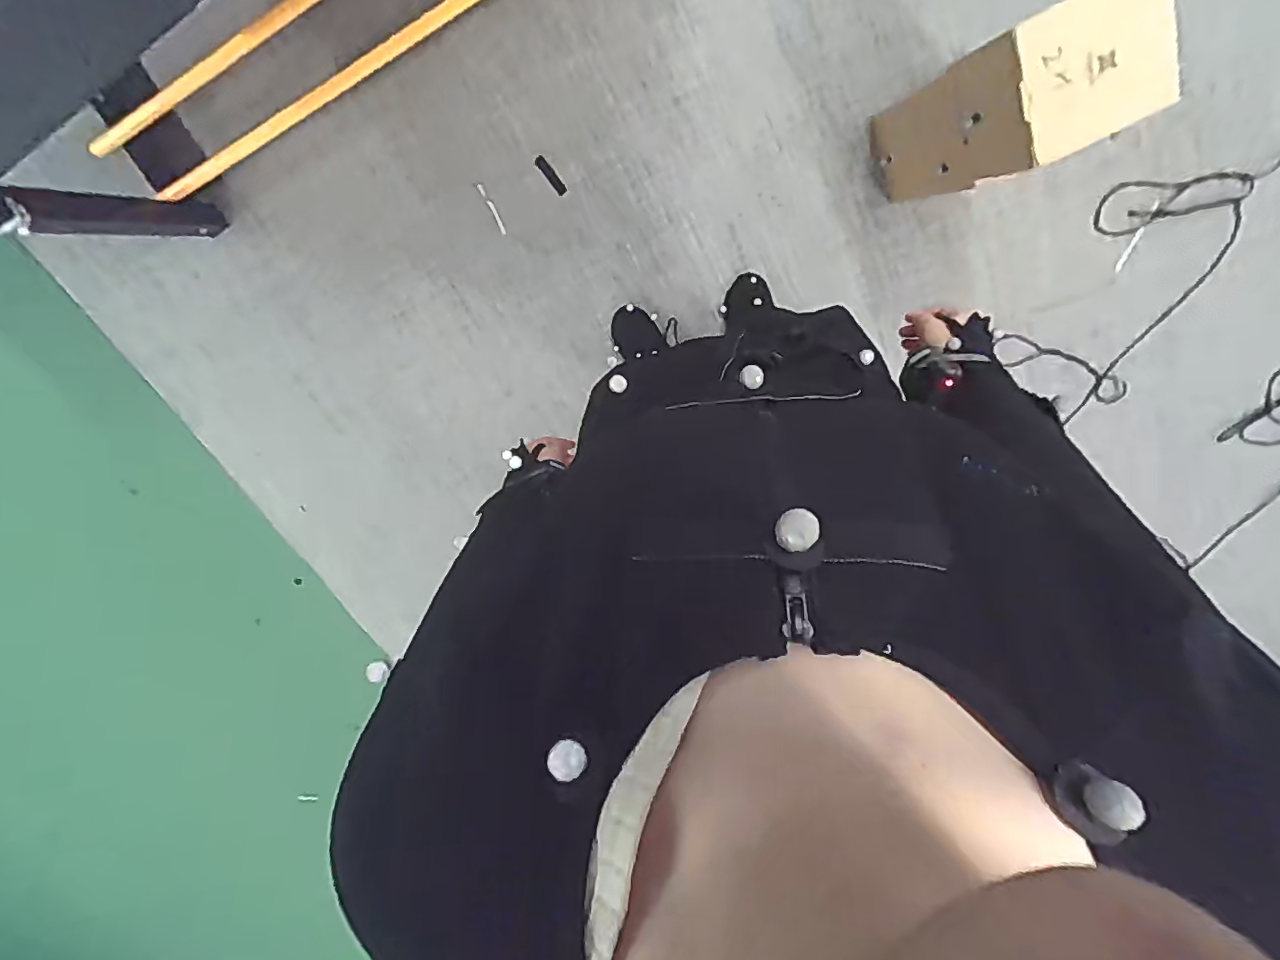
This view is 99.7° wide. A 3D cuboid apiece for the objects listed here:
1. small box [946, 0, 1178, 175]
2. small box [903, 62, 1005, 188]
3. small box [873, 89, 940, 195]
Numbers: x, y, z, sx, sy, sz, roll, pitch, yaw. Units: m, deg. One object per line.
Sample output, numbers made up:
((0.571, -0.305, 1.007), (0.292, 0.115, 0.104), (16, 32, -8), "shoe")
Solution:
((0.552, -0.539, 0.725), (0.179, 0.176, 0.168), (-23, 111, 11), "small box")
((0.560, -0.599, 0.879), (0.168, 0.176, 0.179), (-25, 110, 11), "small box")
((0.569, -0.664, 1.026), (0.168, 0.176, 0.179), (-22, 113, 10), "small box")
